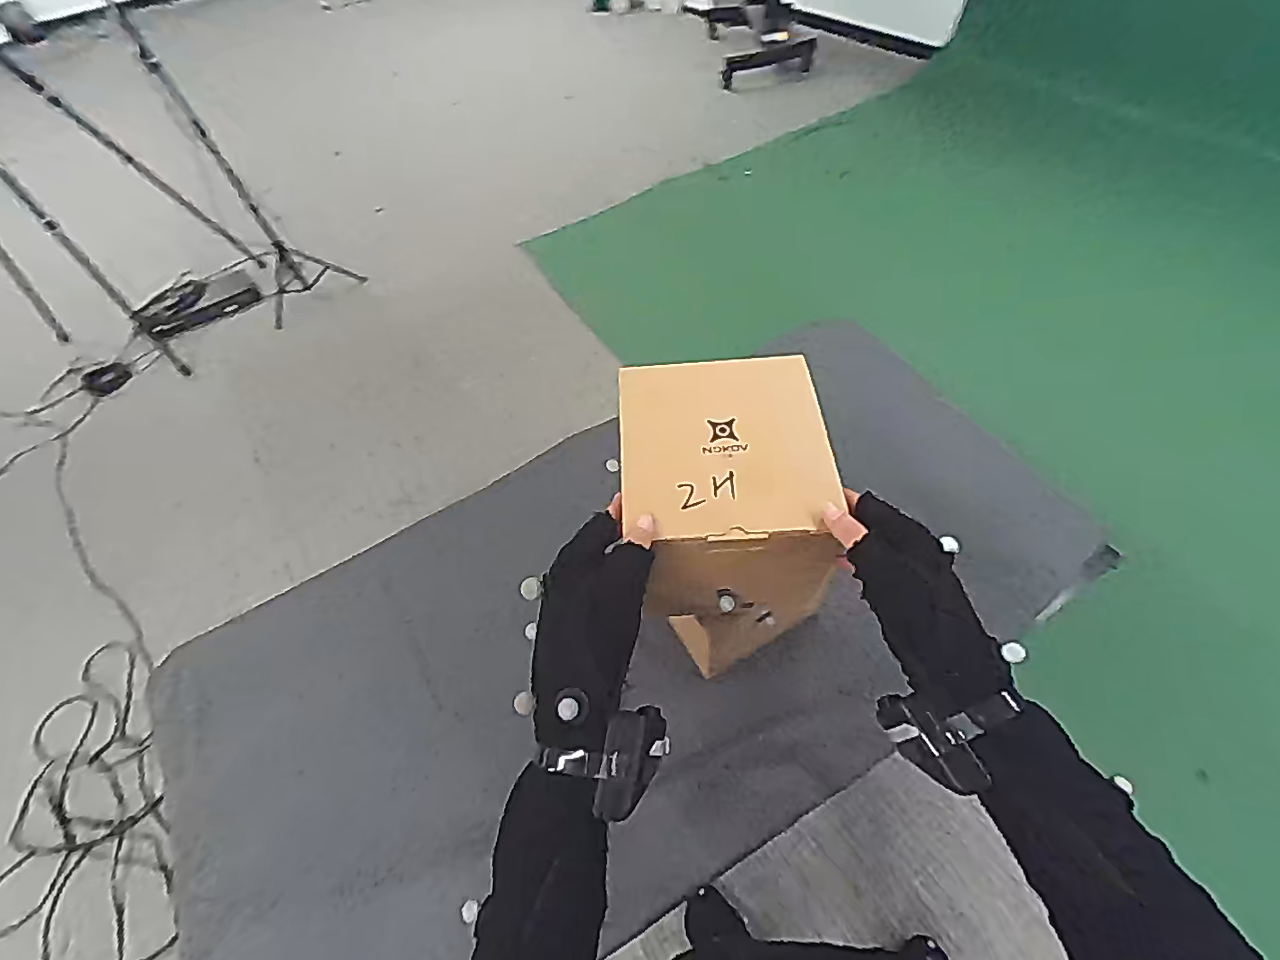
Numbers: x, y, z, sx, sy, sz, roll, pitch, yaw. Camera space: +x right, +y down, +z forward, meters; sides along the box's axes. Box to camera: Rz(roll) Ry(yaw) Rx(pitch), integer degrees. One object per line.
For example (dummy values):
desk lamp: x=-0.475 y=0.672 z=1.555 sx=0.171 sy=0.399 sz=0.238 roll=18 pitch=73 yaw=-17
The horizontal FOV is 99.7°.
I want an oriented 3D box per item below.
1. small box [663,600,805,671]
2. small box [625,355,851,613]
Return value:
small box: x=0.107 y=0.116 z=0.695 sx=0.179 sy=0.176 sz=0.168 roll=-27 pitch=57 yaw=-14
small box: x=0.073 y=0.009 z=0.500 sx=0.168 sy=0.176 sz=0.179 roll=-3 pitch=57 yaw=3
